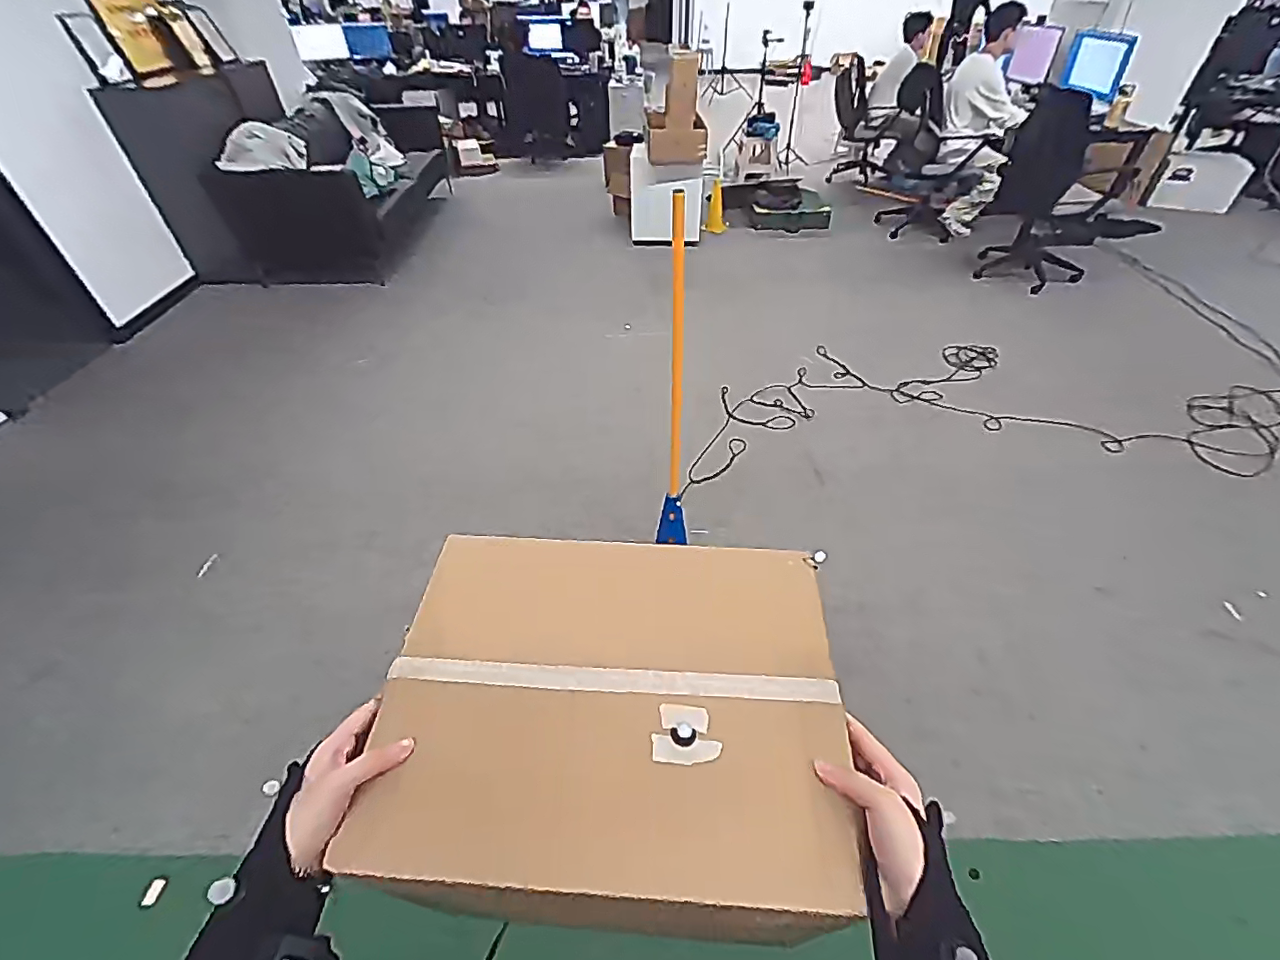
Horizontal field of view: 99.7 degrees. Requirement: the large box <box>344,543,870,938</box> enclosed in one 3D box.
[{"bbox_3d":[-0.022,0.292,0.609,0.408,0.320,0.320,3,47,2],"label":"large box"}]
